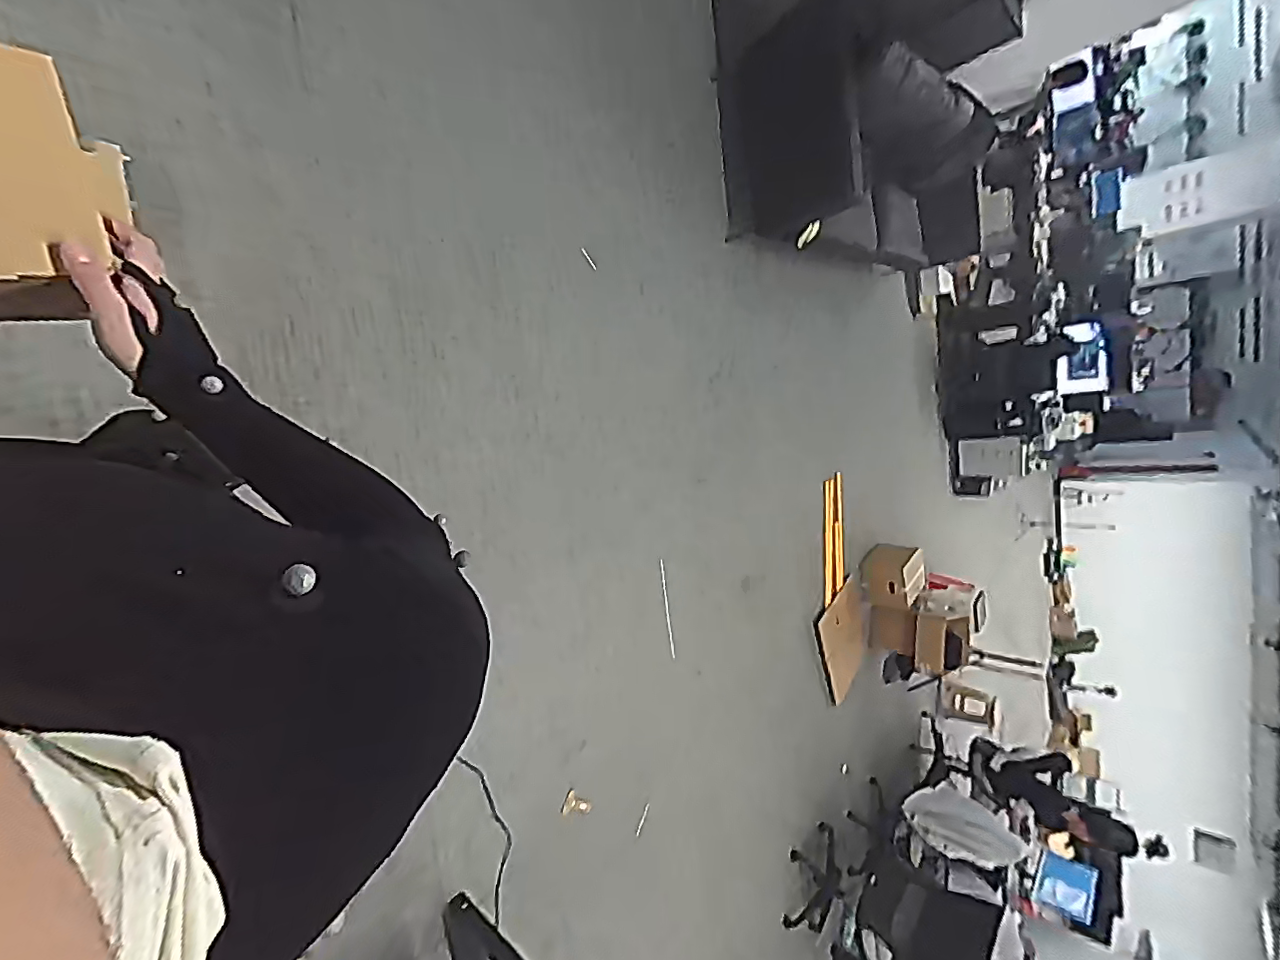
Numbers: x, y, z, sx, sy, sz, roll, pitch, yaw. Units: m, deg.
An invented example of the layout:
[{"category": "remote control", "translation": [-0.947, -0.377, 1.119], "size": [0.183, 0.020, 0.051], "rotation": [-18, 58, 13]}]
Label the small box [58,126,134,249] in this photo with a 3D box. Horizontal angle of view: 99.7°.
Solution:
[{"category": "small box", "translation": [-1.159, -0.596, 1.109], "size": [0.168, 0.176, 0.179], "rotation": [-9, 96, -44]}]

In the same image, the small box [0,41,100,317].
[{"category": "small box", "translation": [-0.578, -0.238, 0.434], "size": [0.168, 0.176, 0.179], "rotation": [-19, 105, -46]}]
